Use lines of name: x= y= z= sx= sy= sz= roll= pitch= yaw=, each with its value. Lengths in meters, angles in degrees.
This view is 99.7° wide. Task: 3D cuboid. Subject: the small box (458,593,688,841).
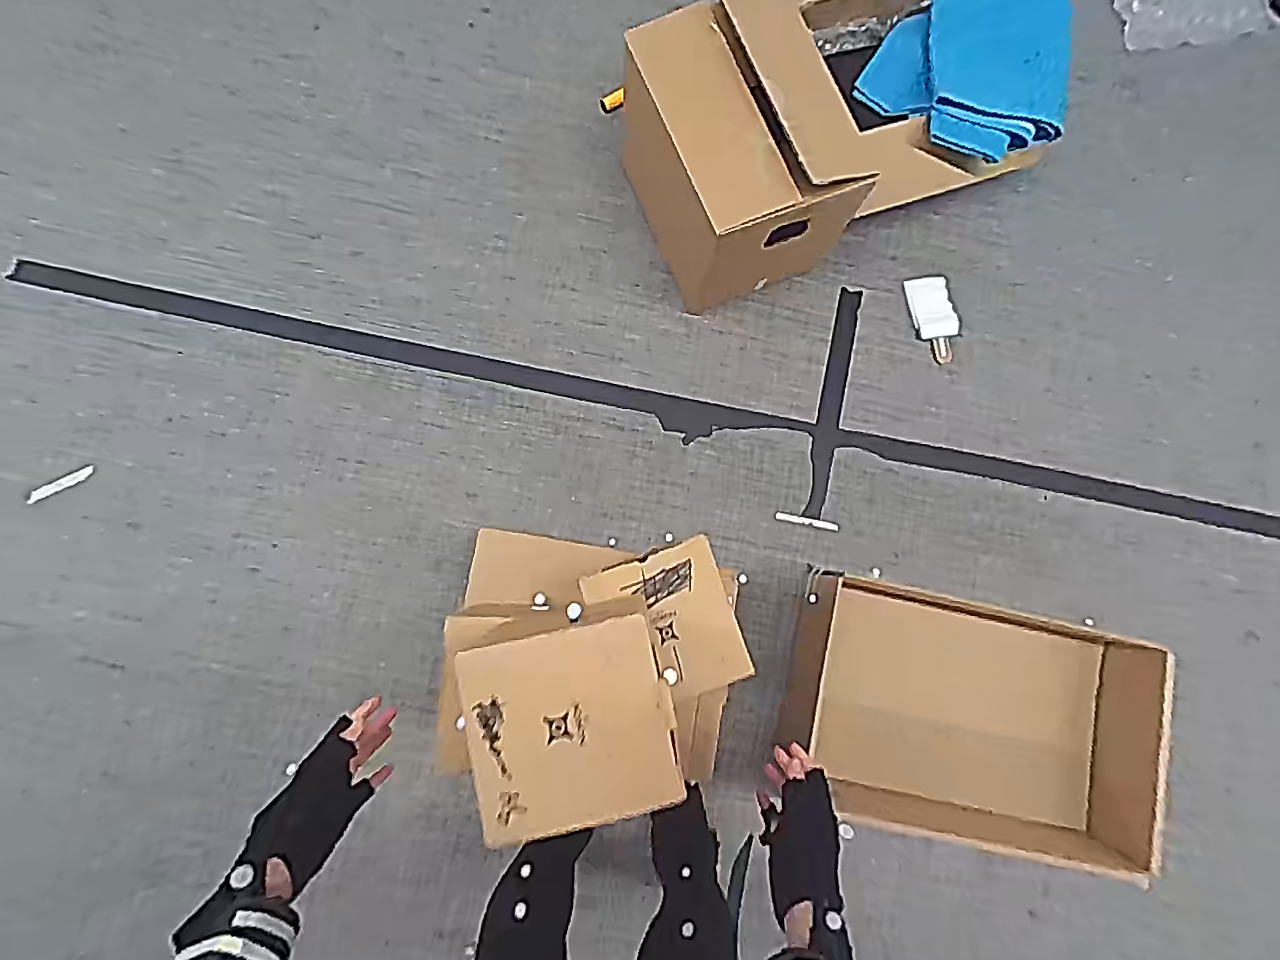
small box: x=-0.062 y=0.216 z=0.545 sx=0.179 sy=0.176 sz=0.168 roll=-12 pitch=84 yaw=-3

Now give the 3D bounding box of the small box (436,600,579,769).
small box: x=-0.153 y=0.253 z=0.703 sx=0.168 sy=0.176 sz=0.179 roll=1 pitch=81 yaw=-4

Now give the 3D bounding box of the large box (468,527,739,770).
large box: x=-0.073 y=0.267 z=0.948 sx=0.408 sy=0.320 sz=0.320 roll=9 pitch=83 yaw=-2
